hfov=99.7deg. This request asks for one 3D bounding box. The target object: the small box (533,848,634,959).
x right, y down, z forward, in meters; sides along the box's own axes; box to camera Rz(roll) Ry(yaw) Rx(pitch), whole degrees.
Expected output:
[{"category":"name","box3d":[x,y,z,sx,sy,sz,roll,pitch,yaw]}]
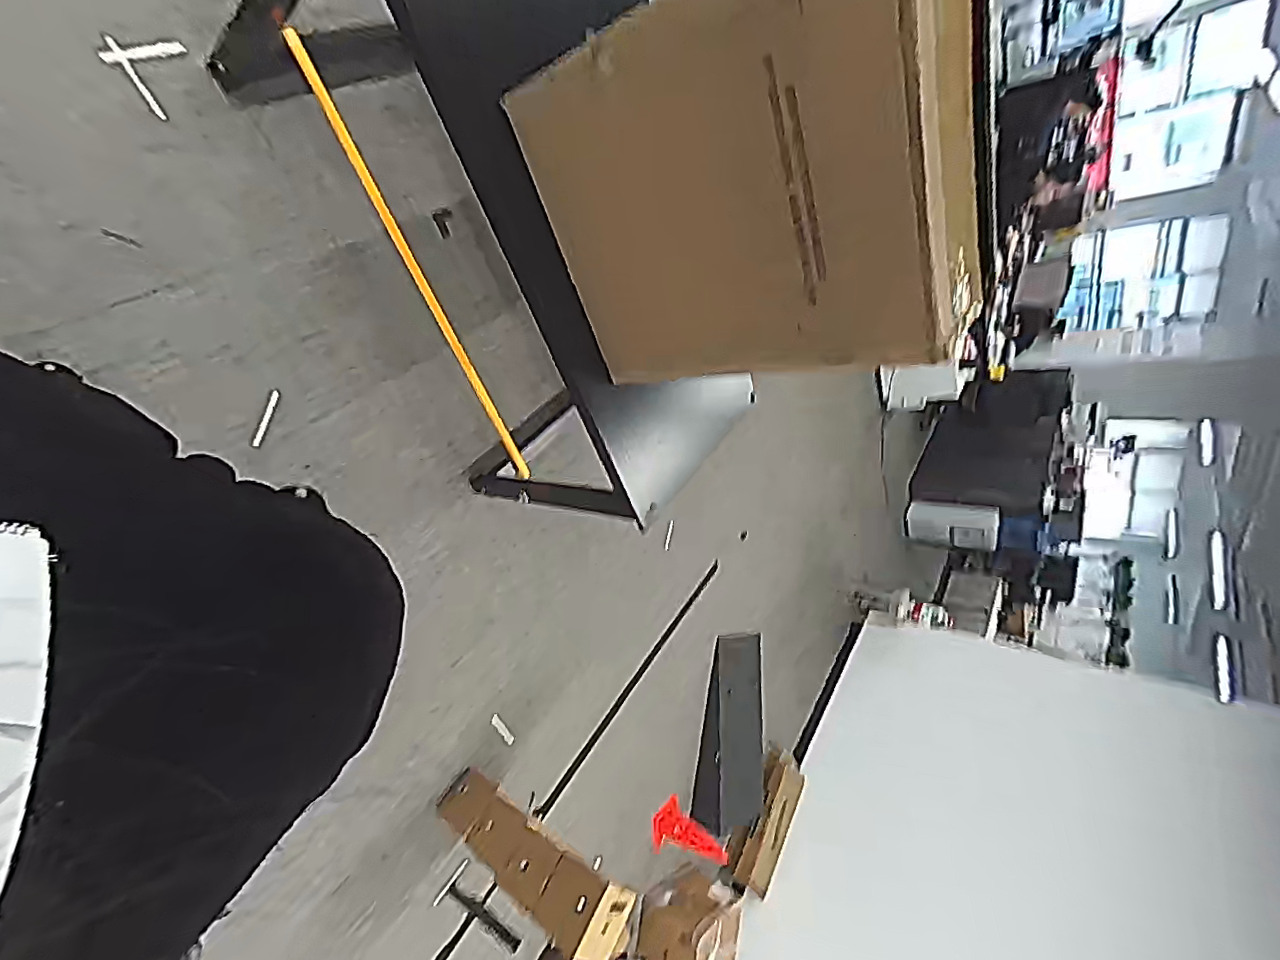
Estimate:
[{"category":"small box","box3d":[-0.152,1.132,1.449,0.179,0.176,0.168,-56,133,-29]}]

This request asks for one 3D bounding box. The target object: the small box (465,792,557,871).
[{"category":"small box","box3d":[-0.398,1.099,1.666,0.168,0.176,0.179,-55,132,-31]}]

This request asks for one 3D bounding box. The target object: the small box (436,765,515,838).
[{"category":"small box","box3d":[-0.525,1.073,1.768,0.168,0.176,0.179,-50,128,-34]}]

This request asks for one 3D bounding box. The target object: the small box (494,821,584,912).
[{"category":"small box","box3d":[-0.281,1.117,1.551,0.168,0.176,0.179,-56,133,-29]}]
